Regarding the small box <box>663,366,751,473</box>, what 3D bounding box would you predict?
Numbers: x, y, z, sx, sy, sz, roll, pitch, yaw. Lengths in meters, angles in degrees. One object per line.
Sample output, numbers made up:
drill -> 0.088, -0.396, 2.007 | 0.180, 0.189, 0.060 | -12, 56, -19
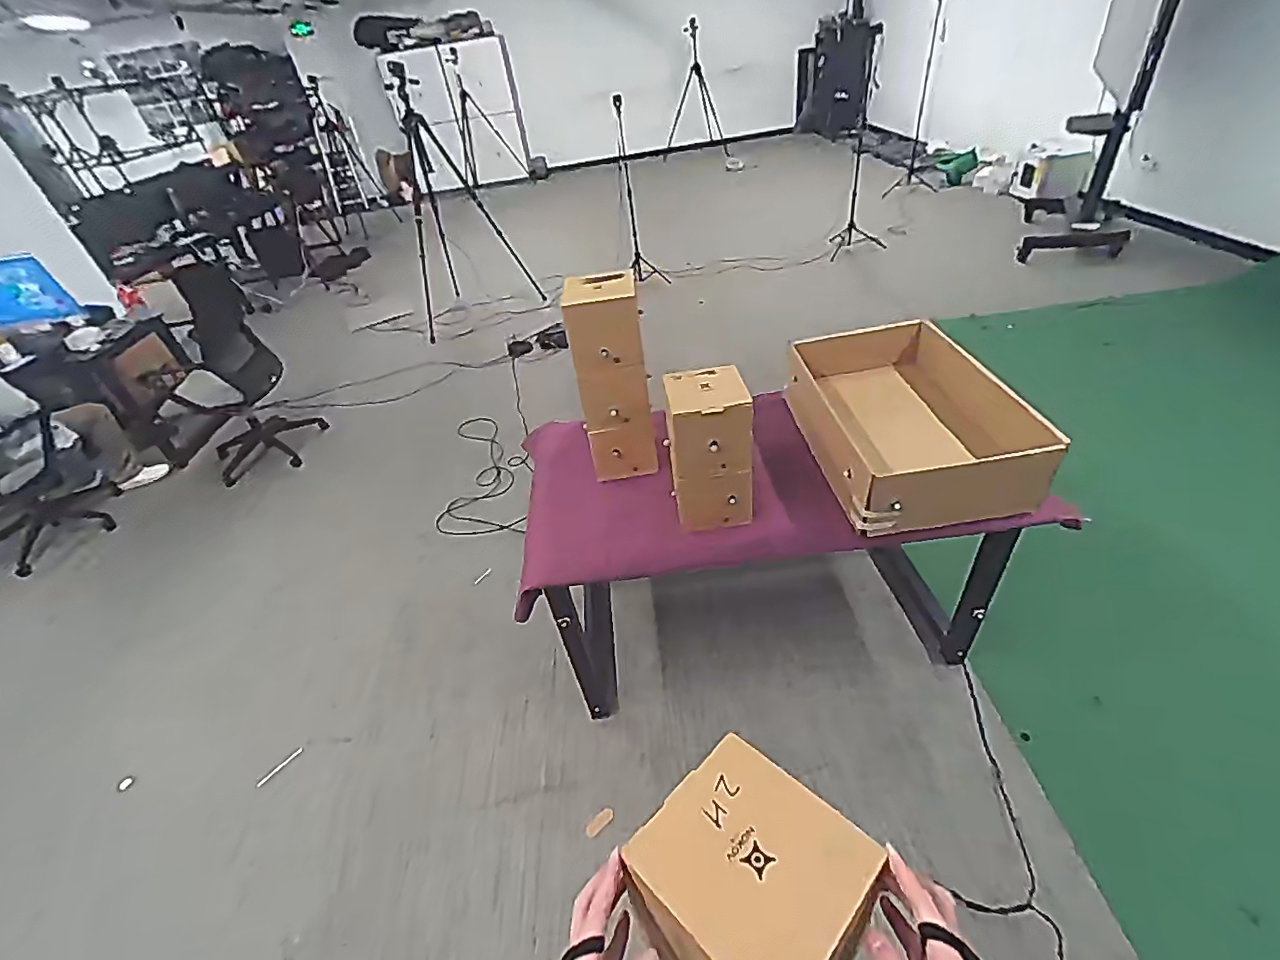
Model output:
small box -> 0.146, -0.127, 1.189 | 0.168, 0.176, 0.179 | -7, 39, 1

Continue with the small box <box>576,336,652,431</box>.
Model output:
small box -> -0.062, -0.246, 1.378 | 0.168, 0.176, 0.179 | -7, 39, 4

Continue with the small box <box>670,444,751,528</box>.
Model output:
small box -> 0.167, 0.002, 1.288 | 0.168, 0.176, 0.179 | -8, 38, 2

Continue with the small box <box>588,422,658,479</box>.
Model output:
small box -> -0.047, -0.118, 1.479 | 0.168, 0.176, 0.179 | -9, 38, 1
